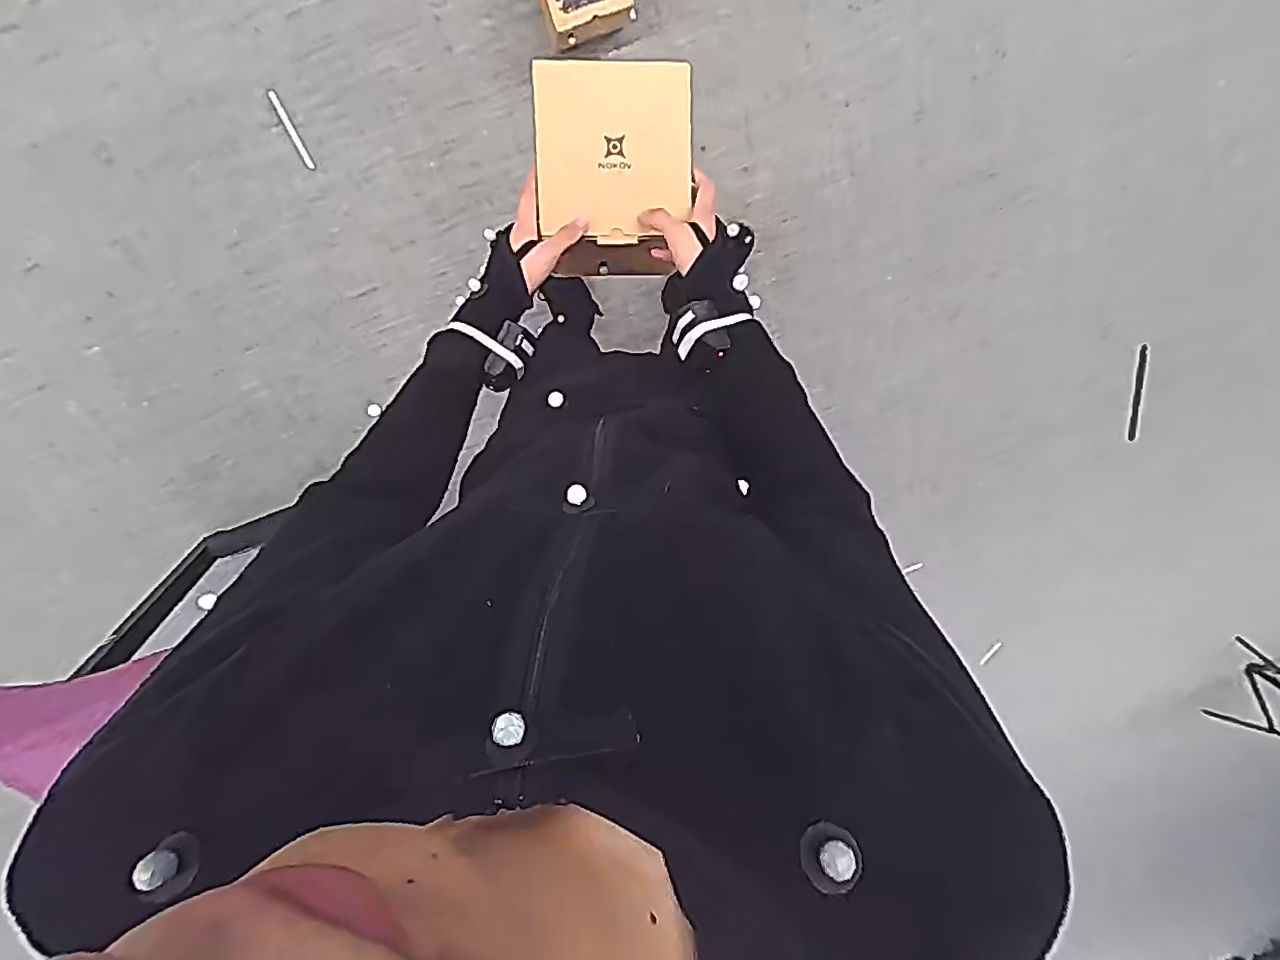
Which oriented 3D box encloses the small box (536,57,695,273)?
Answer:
[{"bbox_3d":[-0.030,-0.358,0.646,0.168,0.176,0.179,-3,99,-4],"label":"small box"}]
